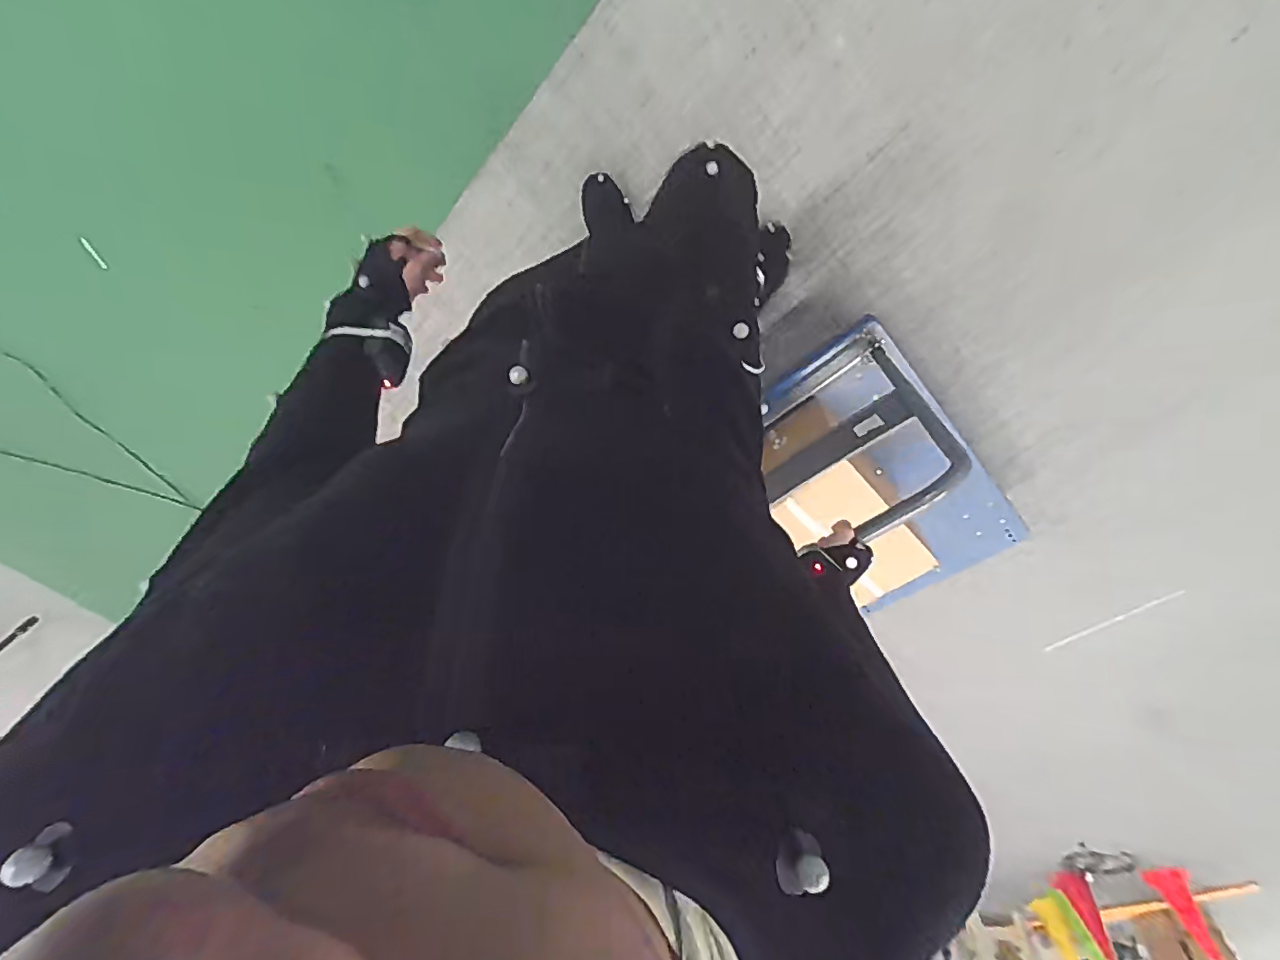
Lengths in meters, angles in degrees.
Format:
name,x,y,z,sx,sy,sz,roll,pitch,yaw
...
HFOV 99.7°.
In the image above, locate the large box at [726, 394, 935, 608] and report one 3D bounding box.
name,x,y,z,sx,sy,sz,roll,pitch,yaw
large box,0.478,0.054,1.427,0.320,0.320,0.408,-37,113,26
